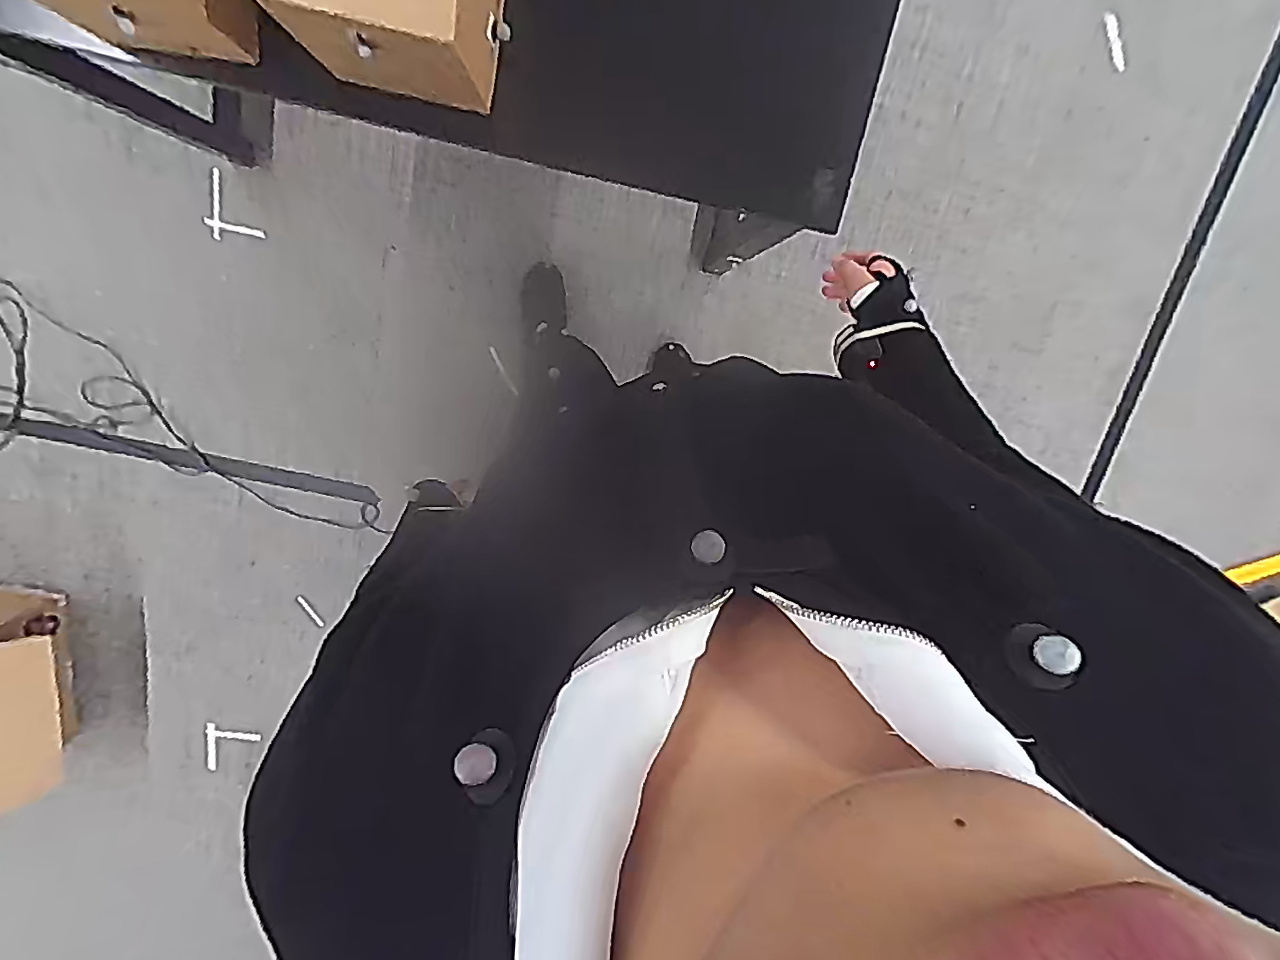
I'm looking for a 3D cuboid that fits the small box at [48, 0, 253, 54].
[{"bbox_3d":[-0.493,-0.535,0.496,0.168,0.176,0.179,5,105,-4],"label":"small box"}]

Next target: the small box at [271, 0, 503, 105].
[{"bbox_3d":[-0.239,-0.499,0.522,0.179,0.176,0.168,9,105,-6],"label":"small box"}]
